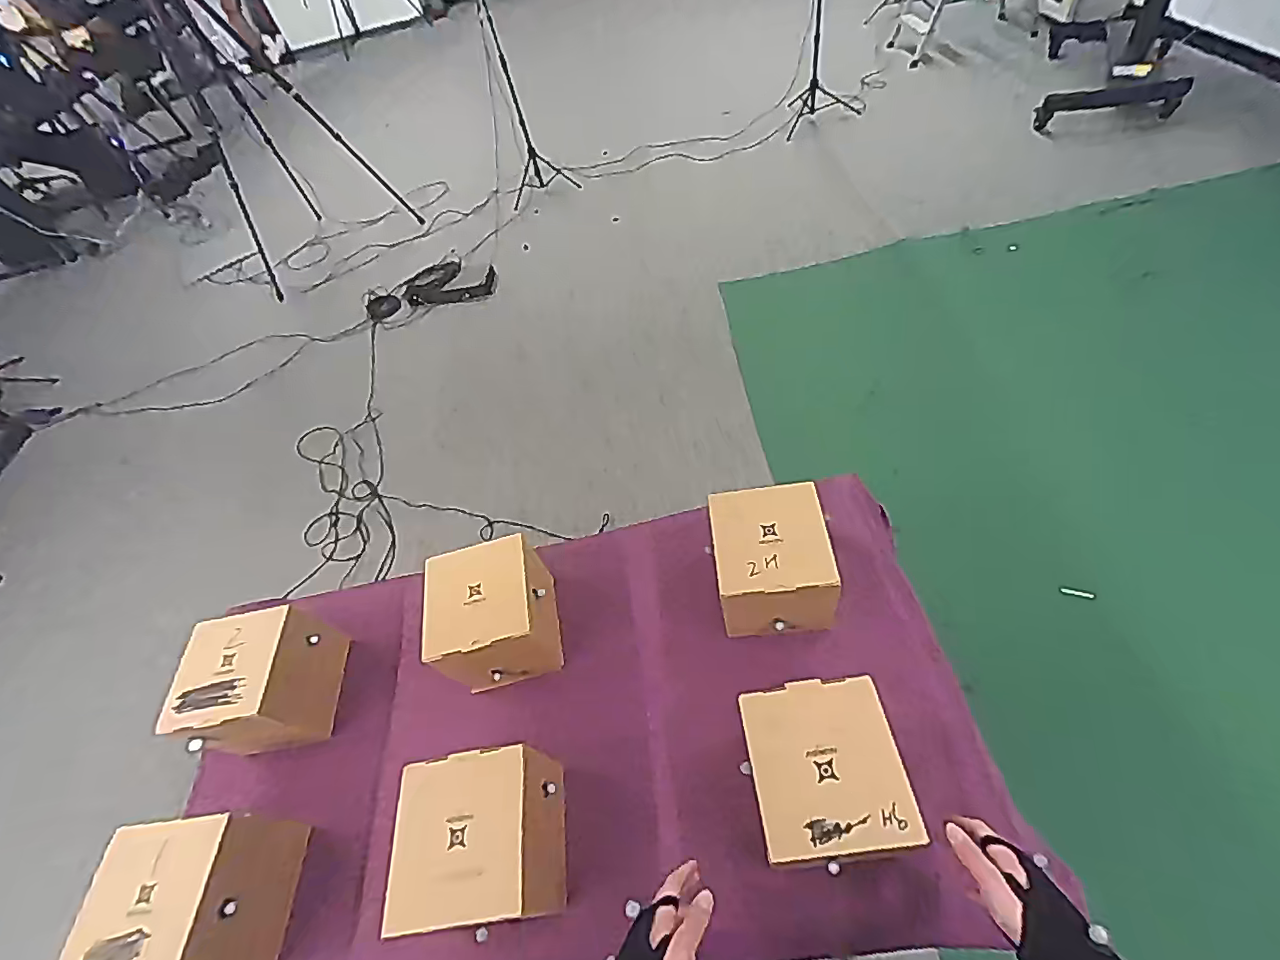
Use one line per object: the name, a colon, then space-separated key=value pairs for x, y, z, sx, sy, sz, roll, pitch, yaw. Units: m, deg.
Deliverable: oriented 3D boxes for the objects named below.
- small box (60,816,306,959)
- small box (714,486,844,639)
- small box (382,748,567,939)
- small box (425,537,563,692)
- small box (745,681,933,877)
small box: x=-0.586 y=0.561 z=0.714 sx=0.168 sy=0.176 sz=0.179 roll=-9 pitch=51 yaw=5
small box: x=0.209 y=0.134 z=0.854 sx=0.168 sy=0.176 sz=0.179 roll=-8 pitch=54 yaw=8
small box: x=-0.197 y=0.469 z=0.699 sx=0.168 sy=0.176 sz=0.179 roll=-12 pitch=52 yaw=5
small box: x=-0.233 y=0.224 z=0.890 sx=0.168 sy=0.176 sz=0.179 roll=-15 pitch=54 yaw=1
small box: x=0.229 y=0.374 z=0.672 sx=0.168 sy=0.176 sz=0.179 roll=-11 pitch=50 yaw=6
